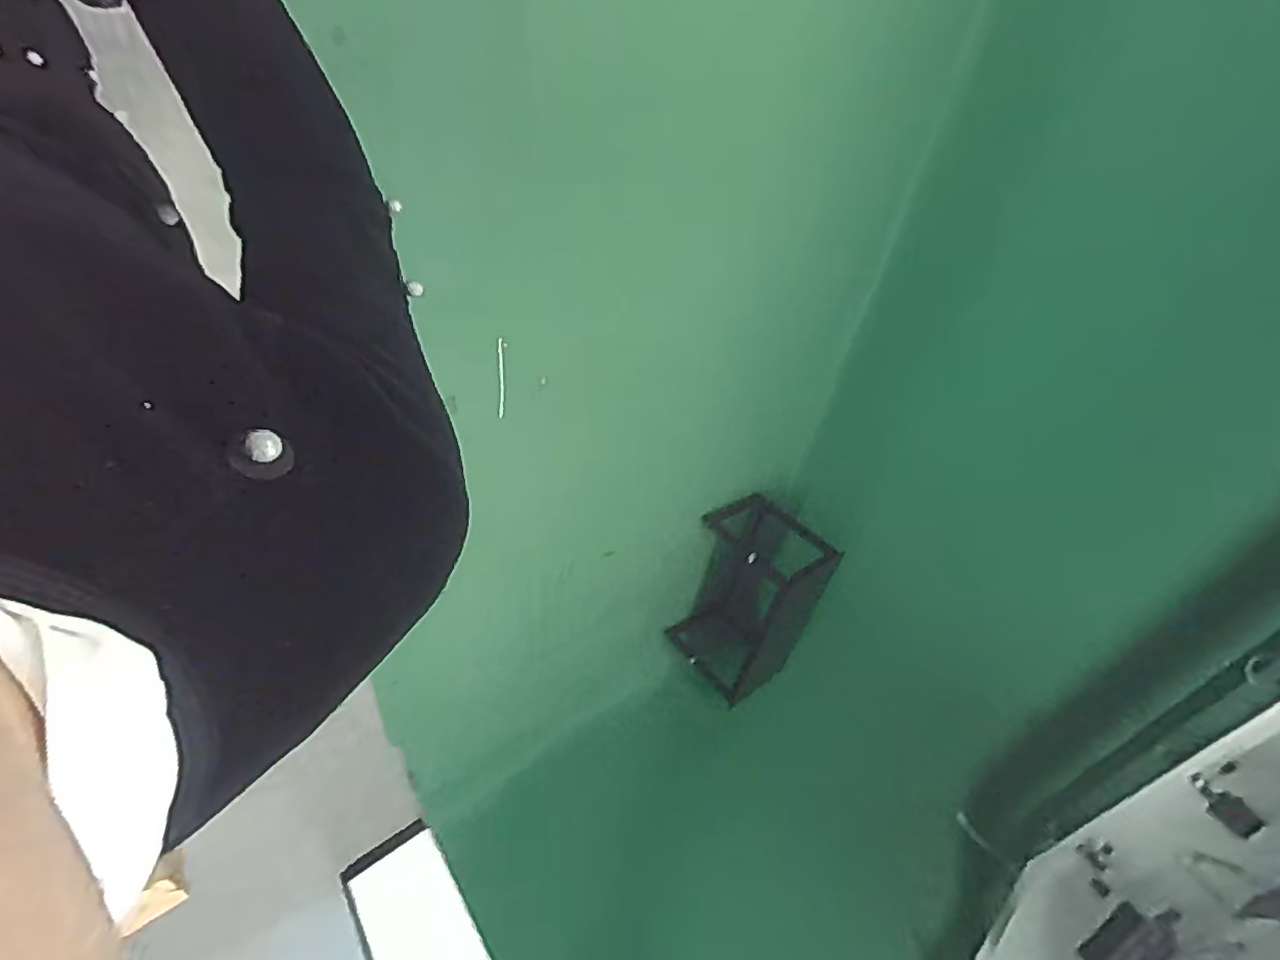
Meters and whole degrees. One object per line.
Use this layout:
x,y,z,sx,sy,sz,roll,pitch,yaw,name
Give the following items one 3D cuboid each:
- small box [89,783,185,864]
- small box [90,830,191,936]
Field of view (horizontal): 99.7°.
-1.566,1.086,1.682,0.168,0.176,0.179,-24,139,-32,small box
-1.469,1.176,1.589,0.168,0.176,0.179,-24,139,-33,small box
